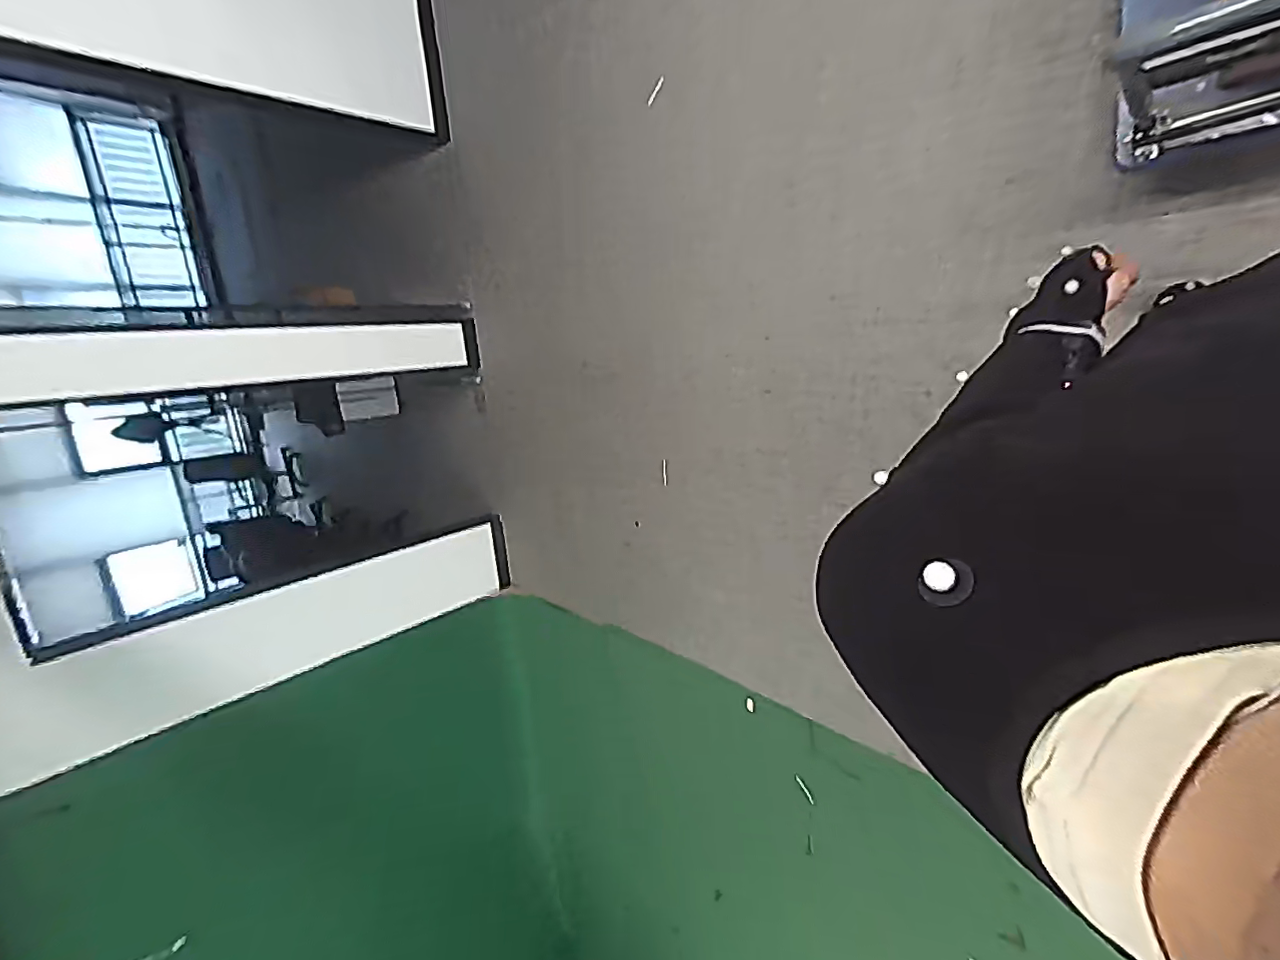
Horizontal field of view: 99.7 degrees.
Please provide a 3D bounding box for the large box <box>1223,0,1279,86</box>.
[{"bbox_3d":[0.980,-0.826,0.685,0.320,0.320,0.408,5,105,45],"label":"large box"}]
